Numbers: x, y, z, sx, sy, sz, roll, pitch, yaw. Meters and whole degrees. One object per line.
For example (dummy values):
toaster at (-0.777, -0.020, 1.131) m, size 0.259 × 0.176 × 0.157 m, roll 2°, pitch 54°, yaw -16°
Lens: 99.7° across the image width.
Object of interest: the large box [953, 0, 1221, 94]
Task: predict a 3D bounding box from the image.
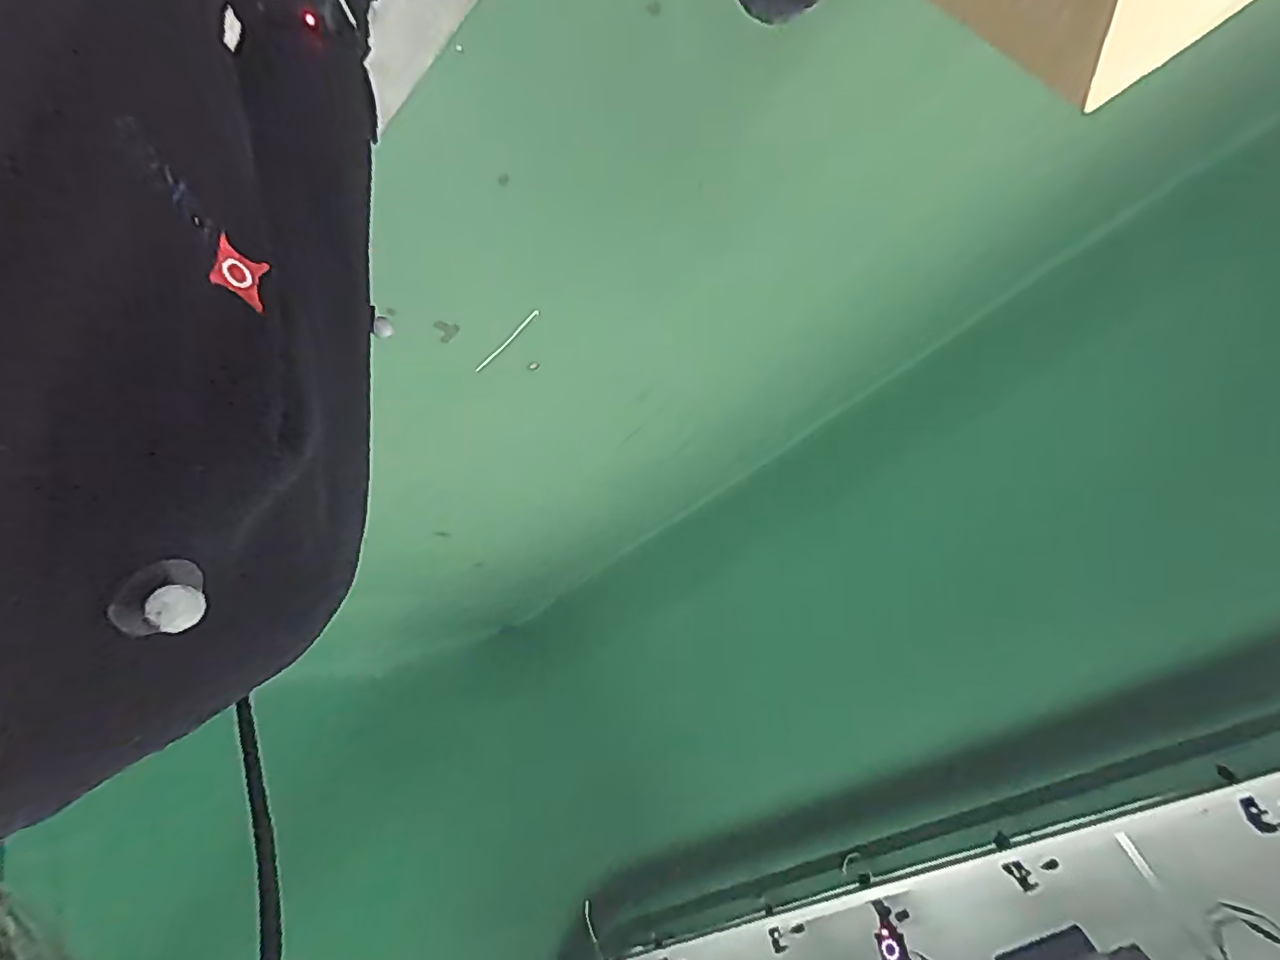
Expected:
large box at (0.314, -0.545, 0.275) m, size 0.320 × 0.320 × 0.408 m, roll -34°, pitch 157°, yaw 18°
